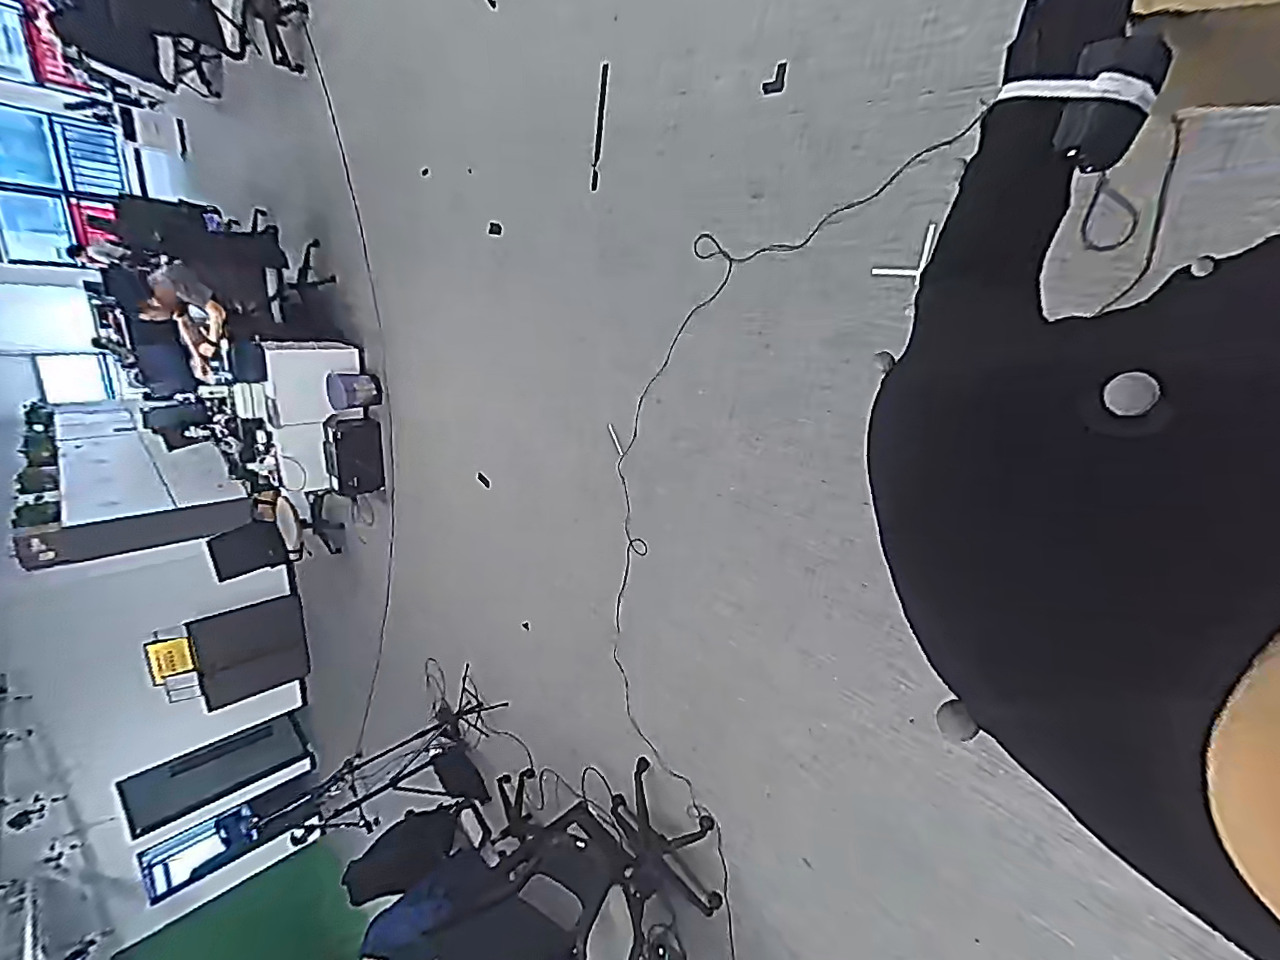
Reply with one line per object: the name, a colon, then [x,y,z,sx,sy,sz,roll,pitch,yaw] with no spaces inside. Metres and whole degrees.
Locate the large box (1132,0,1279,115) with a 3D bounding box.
large box: [0.567,-0.403,0.275,0.408,0.320,0.320,24,123,34]
